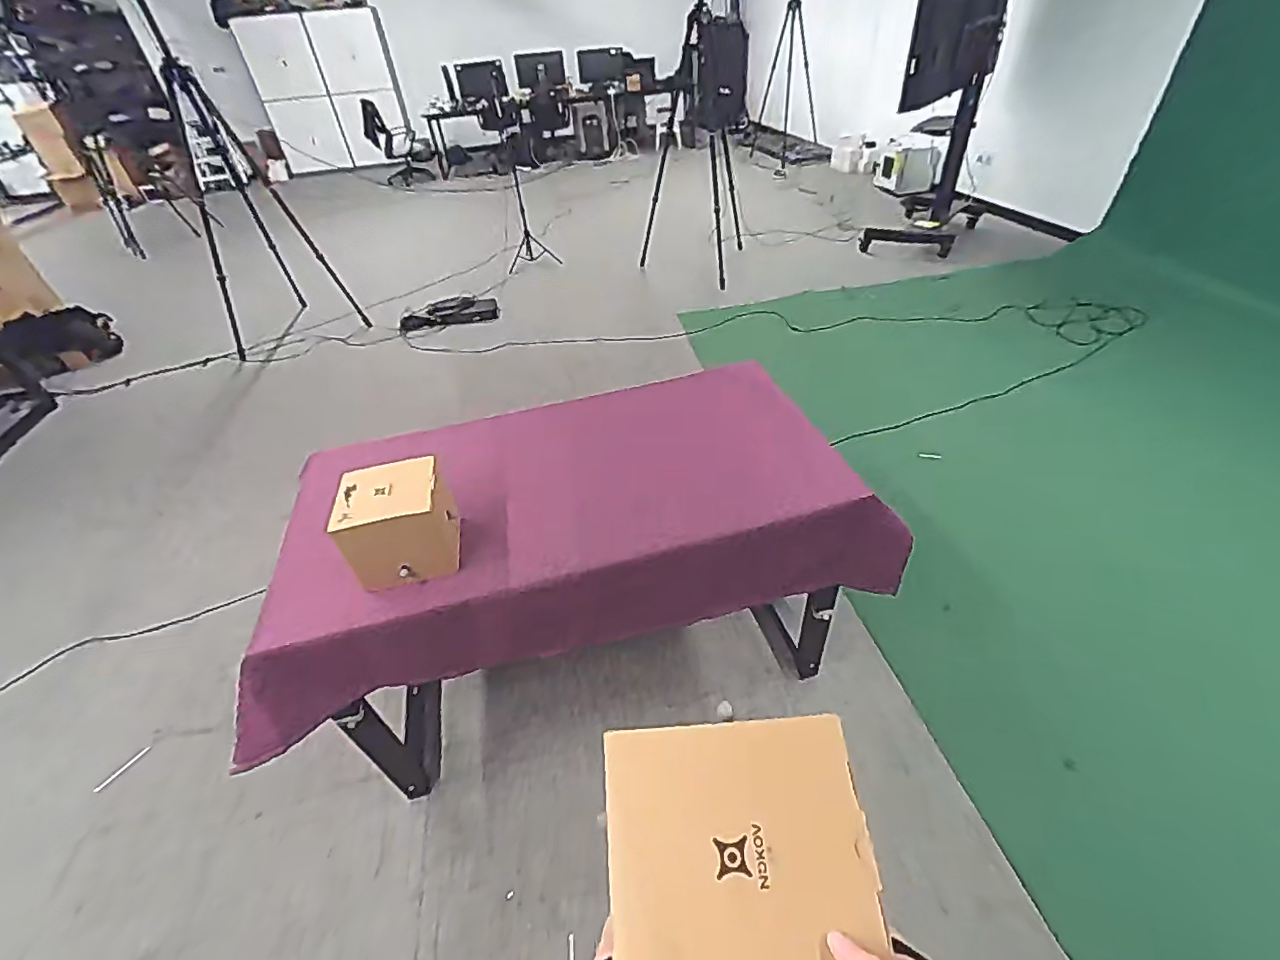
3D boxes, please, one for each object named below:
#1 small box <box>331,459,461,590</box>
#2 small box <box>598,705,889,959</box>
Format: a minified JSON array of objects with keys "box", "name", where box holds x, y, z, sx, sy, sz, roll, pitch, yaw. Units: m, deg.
[{"box":[-0.453,0.086,1.038,0.179,0.176,0.168,-11,40,-7],"name":"small box"},{"box":[0.065,0.281,0.430,0.179,0.176,0.168,-5,62,0],"name":"small box"}]
